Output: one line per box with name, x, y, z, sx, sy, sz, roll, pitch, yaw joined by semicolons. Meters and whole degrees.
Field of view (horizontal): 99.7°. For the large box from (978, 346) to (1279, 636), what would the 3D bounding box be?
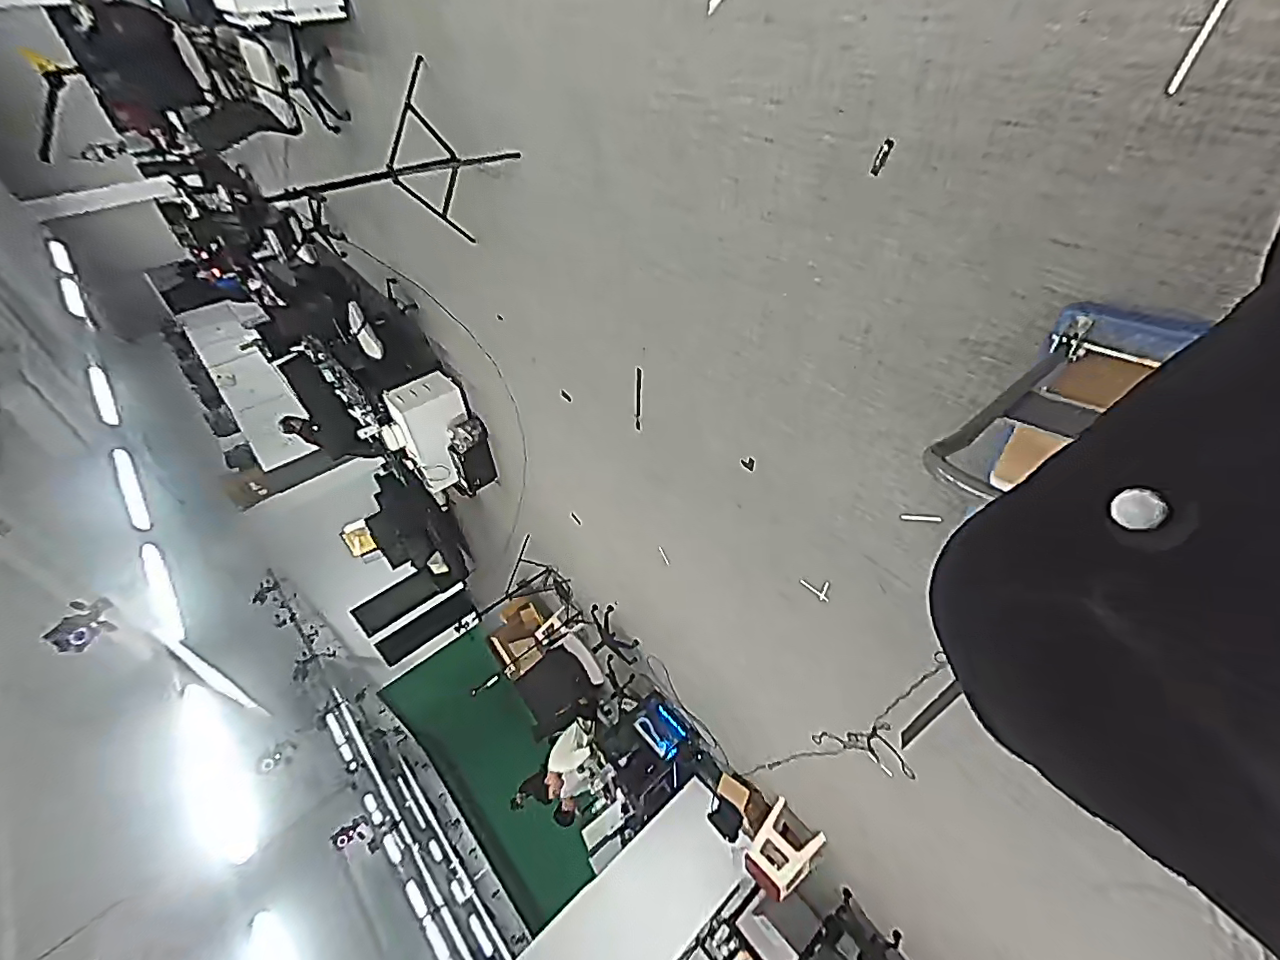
large box;0.950;-0.003;1.006;0.408;0.320;0.320;35;145;38
